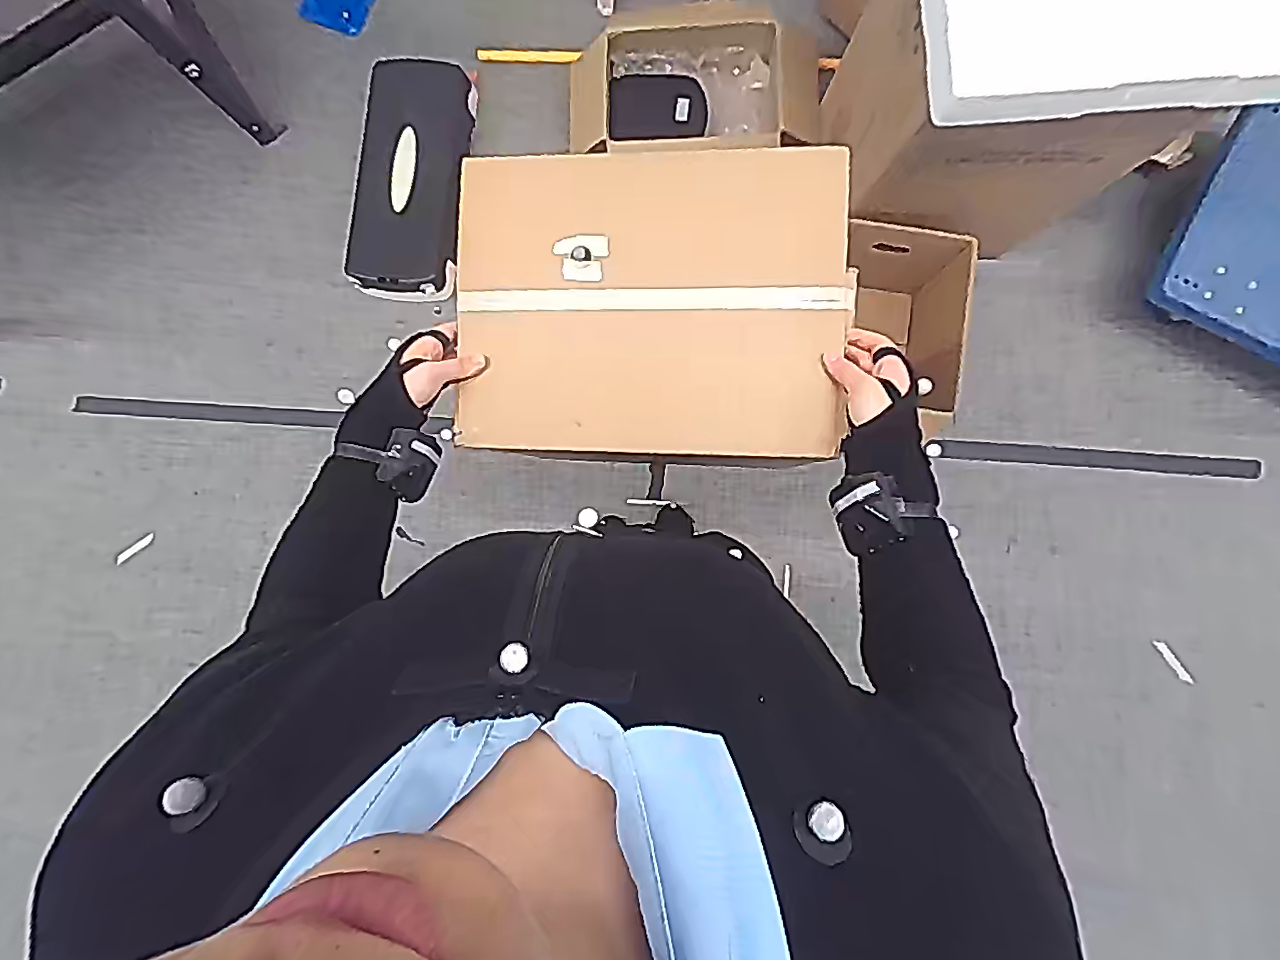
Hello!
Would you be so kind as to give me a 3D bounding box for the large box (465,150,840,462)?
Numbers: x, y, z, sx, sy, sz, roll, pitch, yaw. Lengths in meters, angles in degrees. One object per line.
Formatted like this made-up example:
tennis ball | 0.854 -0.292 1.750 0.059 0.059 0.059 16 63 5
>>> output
large box | 0.026 -0.183 0.719 0.408 0.320 0.320 2 88 8
